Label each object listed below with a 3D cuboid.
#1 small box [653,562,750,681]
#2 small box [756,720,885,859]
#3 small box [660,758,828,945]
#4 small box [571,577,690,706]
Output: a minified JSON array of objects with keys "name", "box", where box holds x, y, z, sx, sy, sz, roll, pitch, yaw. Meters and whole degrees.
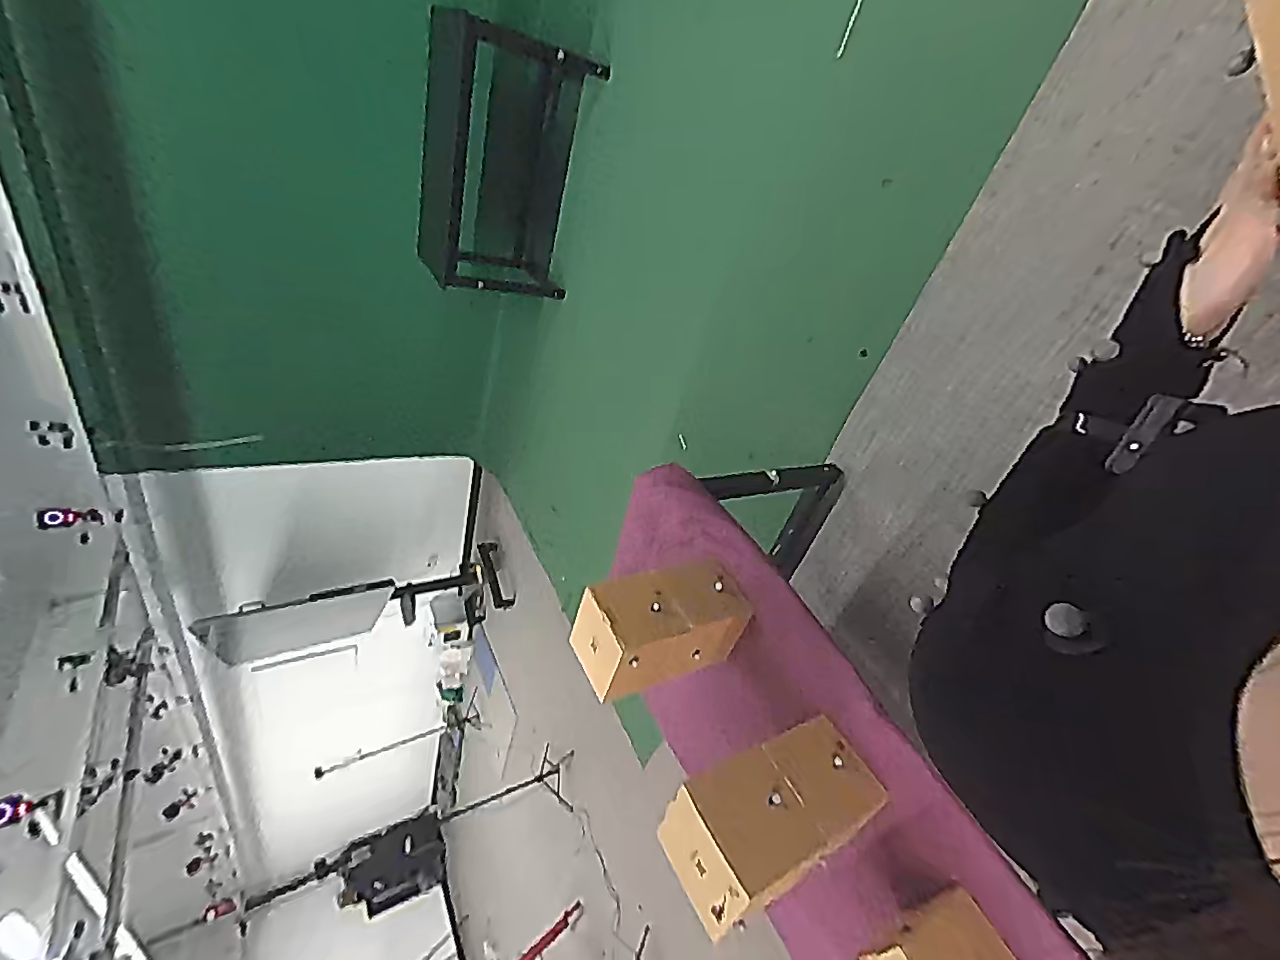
[{"name":"small box","box":[0.116,0.308,1.199,0.168,0.176,0.179,51,134,39]},{"name":"small box","box":[0.297,0.567,0.962,0.168,0.176,0.179,49,134,40]},{"name":"small box","box":[0.162,0.581,0.871,0.179,0.176,0.168,50,135,42]},{"name":"small box","box":[-0.021,0.325,1.113,0.168,0.176,0.179,50,134,40]}]
